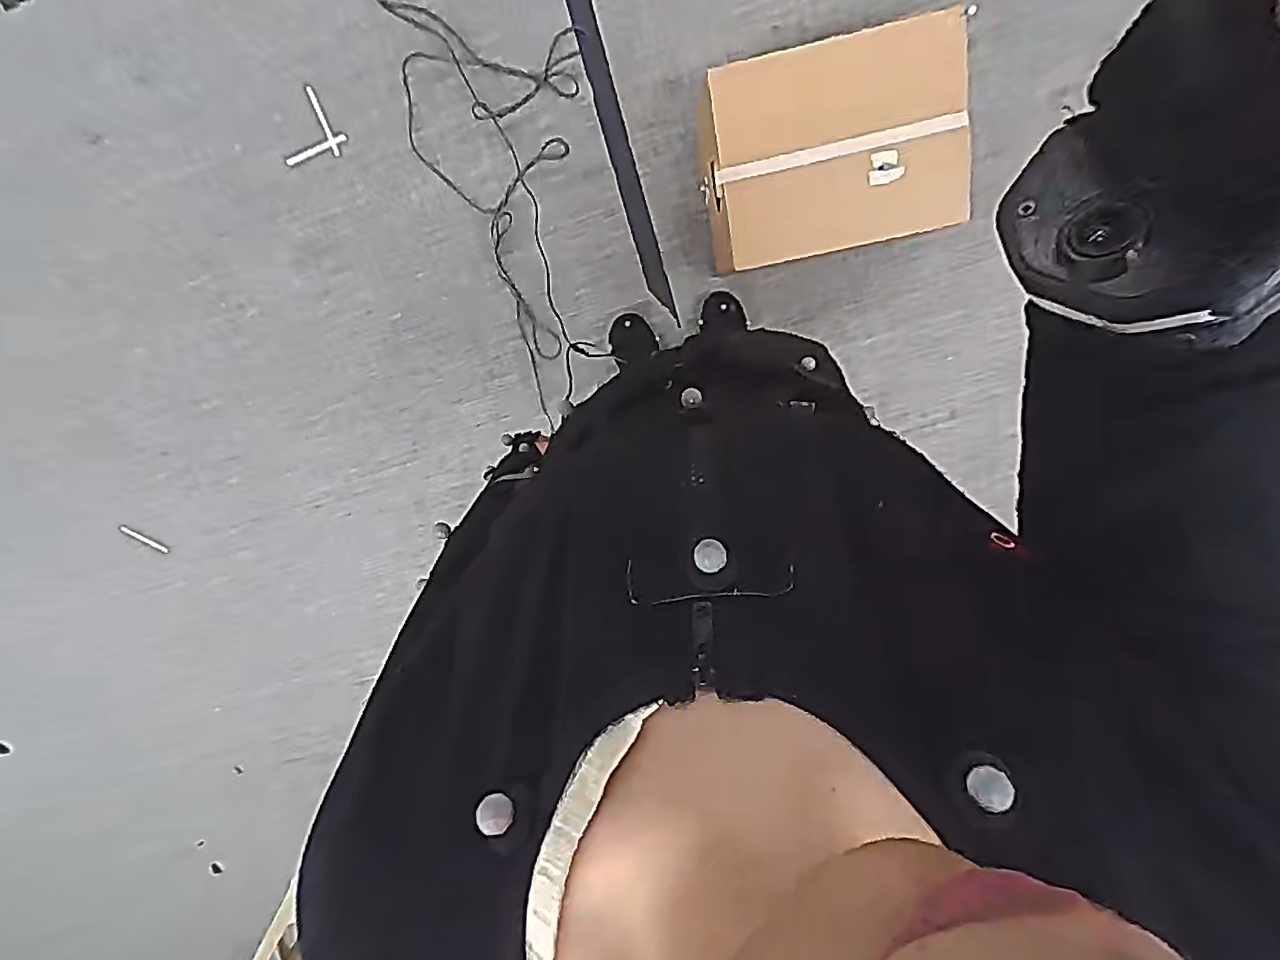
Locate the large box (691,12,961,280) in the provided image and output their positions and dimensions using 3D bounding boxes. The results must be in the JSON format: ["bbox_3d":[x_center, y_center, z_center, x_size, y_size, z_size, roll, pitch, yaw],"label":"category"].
[{"bbox_3d":[0.329,-0.593,1.042,0.408,0.320,0.320,-11,108,5],"label":"large box"}]
